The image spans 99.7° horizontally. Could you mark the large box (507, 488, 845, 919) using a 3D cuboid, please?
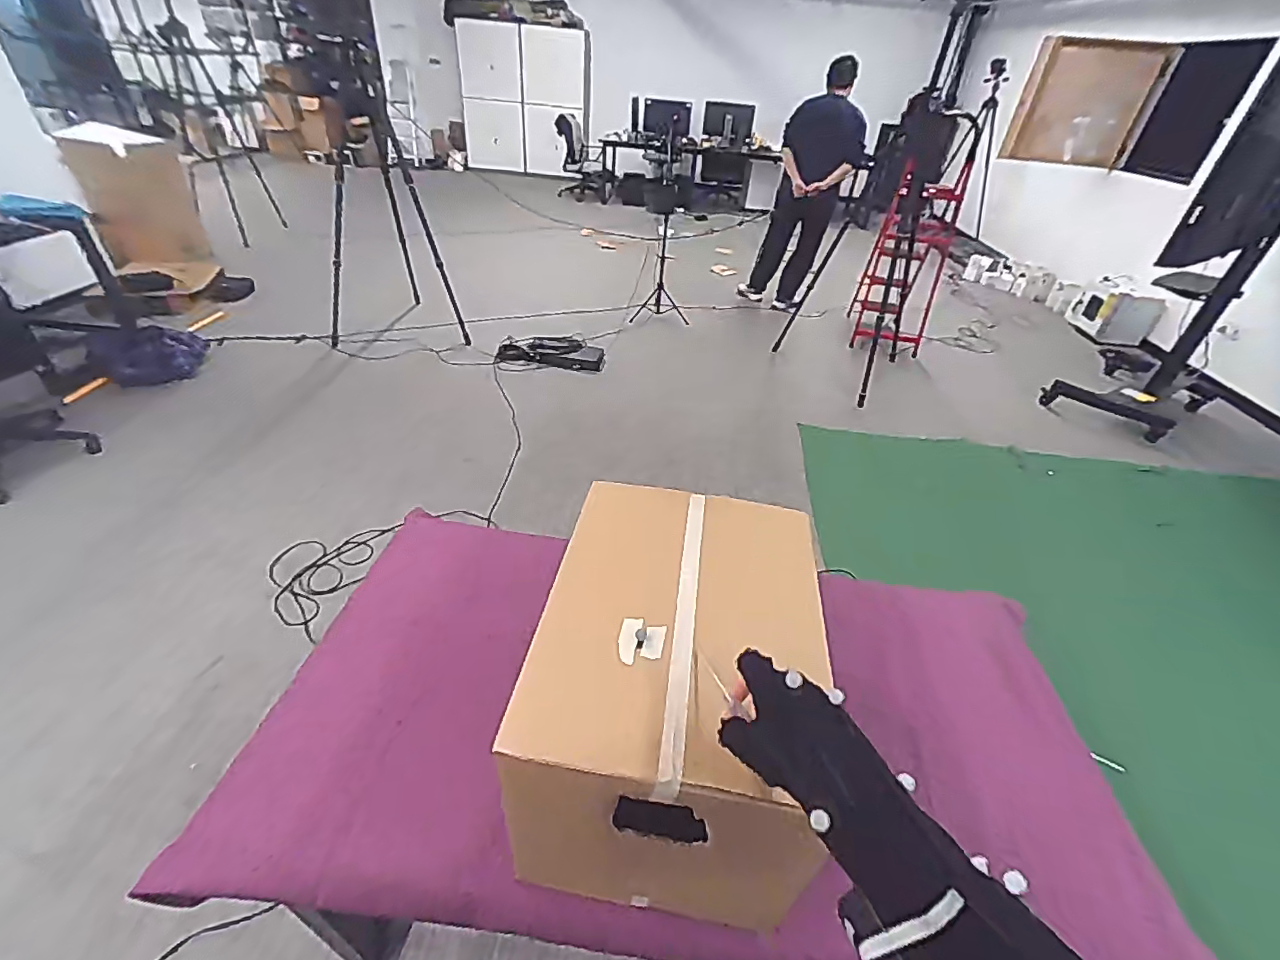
[{"bbox_3d":[0.042,0.269,0.722,0.320,0.320,0.408,9,38,5],"label":"large box"}]
